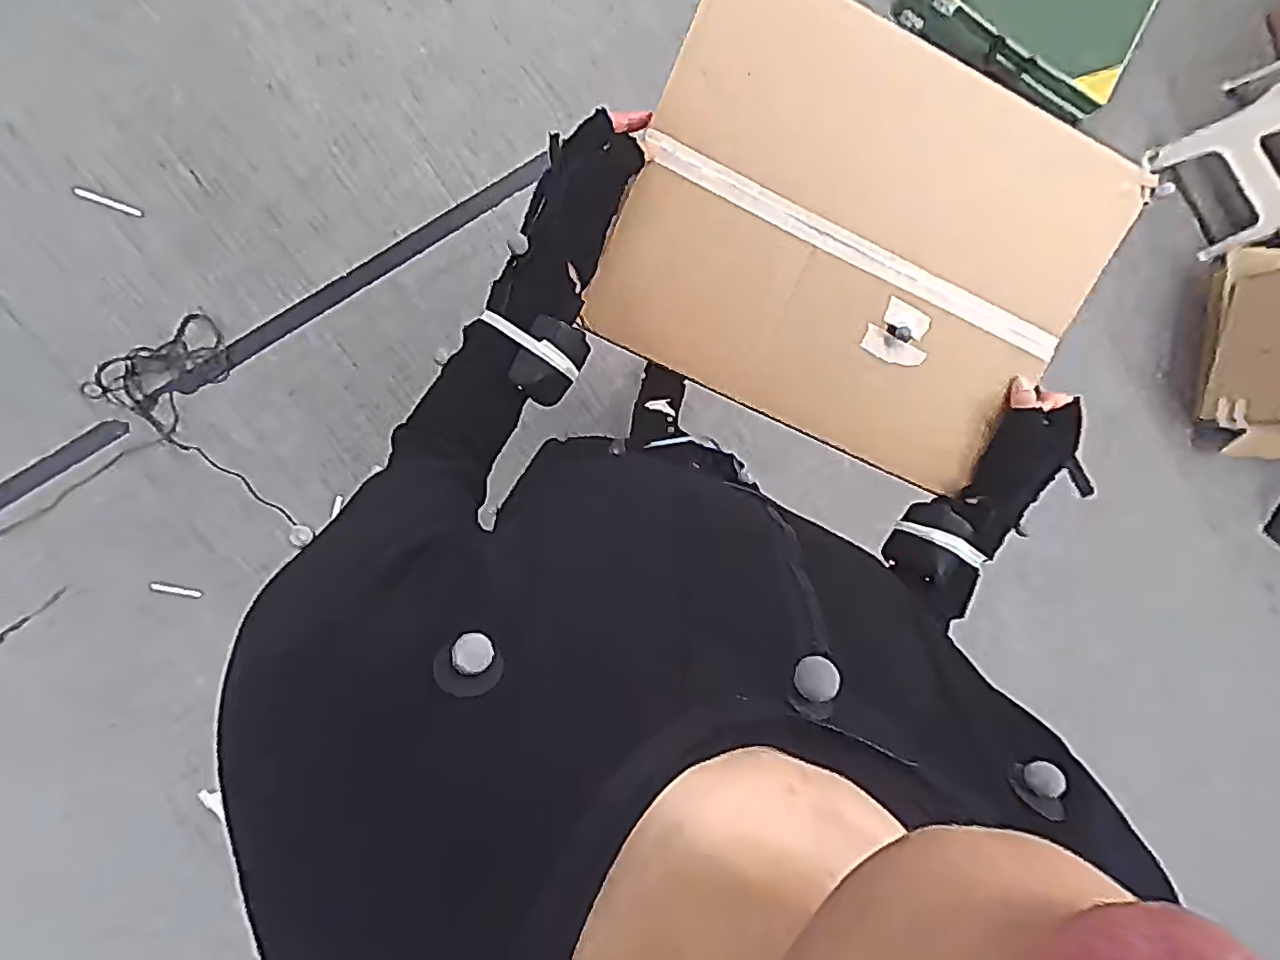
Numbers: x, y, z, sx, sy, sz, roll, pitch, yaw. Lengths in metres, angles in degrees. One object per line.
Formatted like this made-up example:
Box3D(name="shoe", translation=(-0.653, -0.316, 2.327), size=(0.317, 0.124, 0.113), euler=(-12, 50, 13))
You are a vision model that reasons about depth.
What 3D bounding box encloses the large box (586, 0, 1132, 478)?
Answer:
Box3D(name="large box", translation=(0.183, -0.248, 0.621), size=(0.408, 0.320, 0.320), euler=(24, 104, -8))
